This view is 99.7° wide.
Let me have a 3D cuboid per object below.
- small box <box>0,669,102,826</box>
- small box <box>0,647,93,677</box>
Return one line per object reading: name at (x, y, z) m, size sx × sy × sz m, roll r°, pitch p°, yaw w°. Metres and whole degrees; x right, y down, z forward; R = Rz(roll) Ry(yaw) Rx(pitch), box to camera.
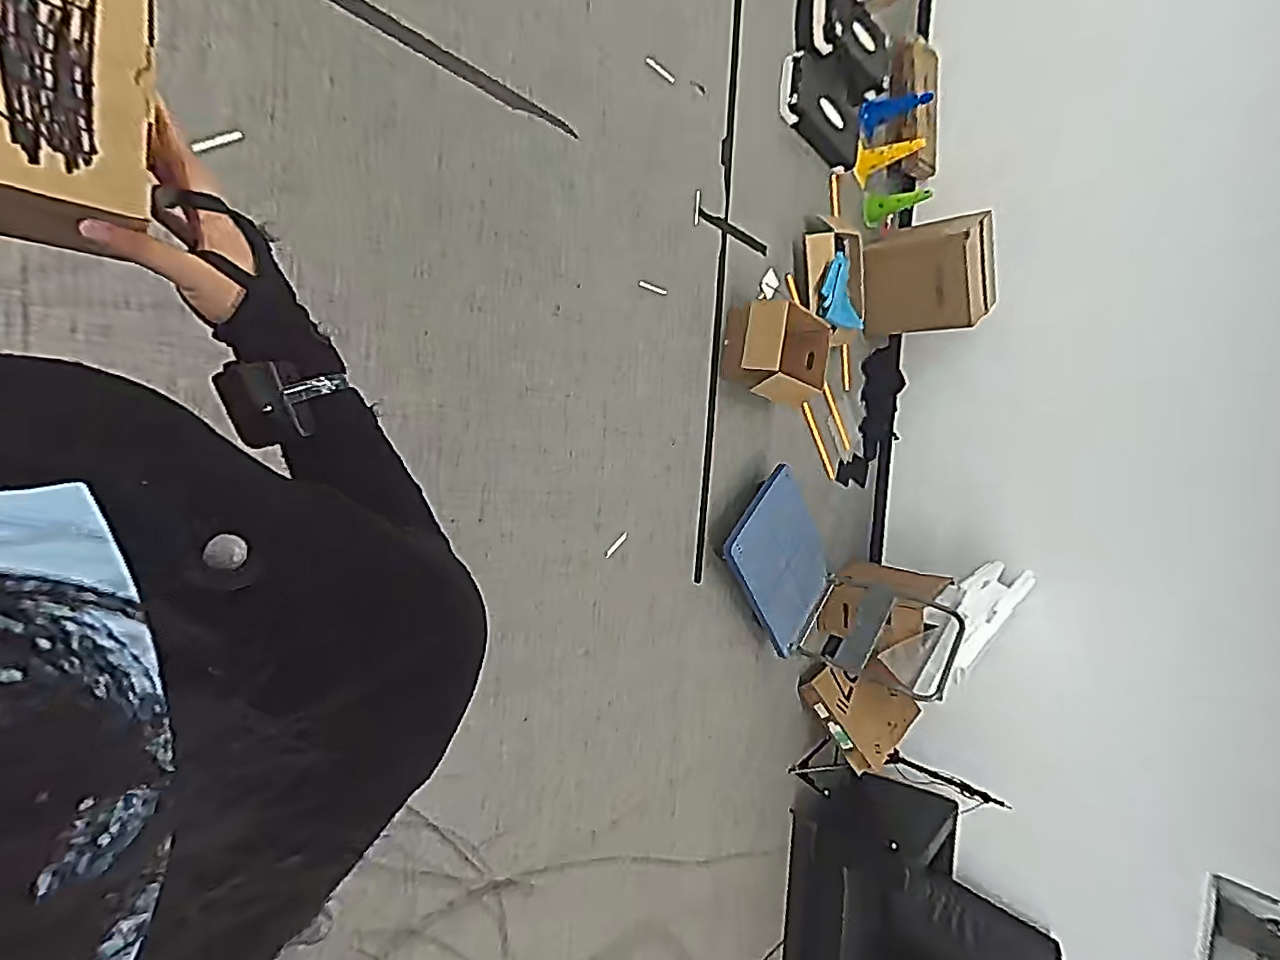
small box at (-0.995, 0.427, 0.873) m, size 0.168 × 0.176 × 0.179 m, roll 8°, pitch 88°, yaw -46°
small box at (-1.115, 0.418, 0.983) m, size 0.168 × 0.176 × 0.179 m, roll -1°, pitch 96°, yaw -45°
